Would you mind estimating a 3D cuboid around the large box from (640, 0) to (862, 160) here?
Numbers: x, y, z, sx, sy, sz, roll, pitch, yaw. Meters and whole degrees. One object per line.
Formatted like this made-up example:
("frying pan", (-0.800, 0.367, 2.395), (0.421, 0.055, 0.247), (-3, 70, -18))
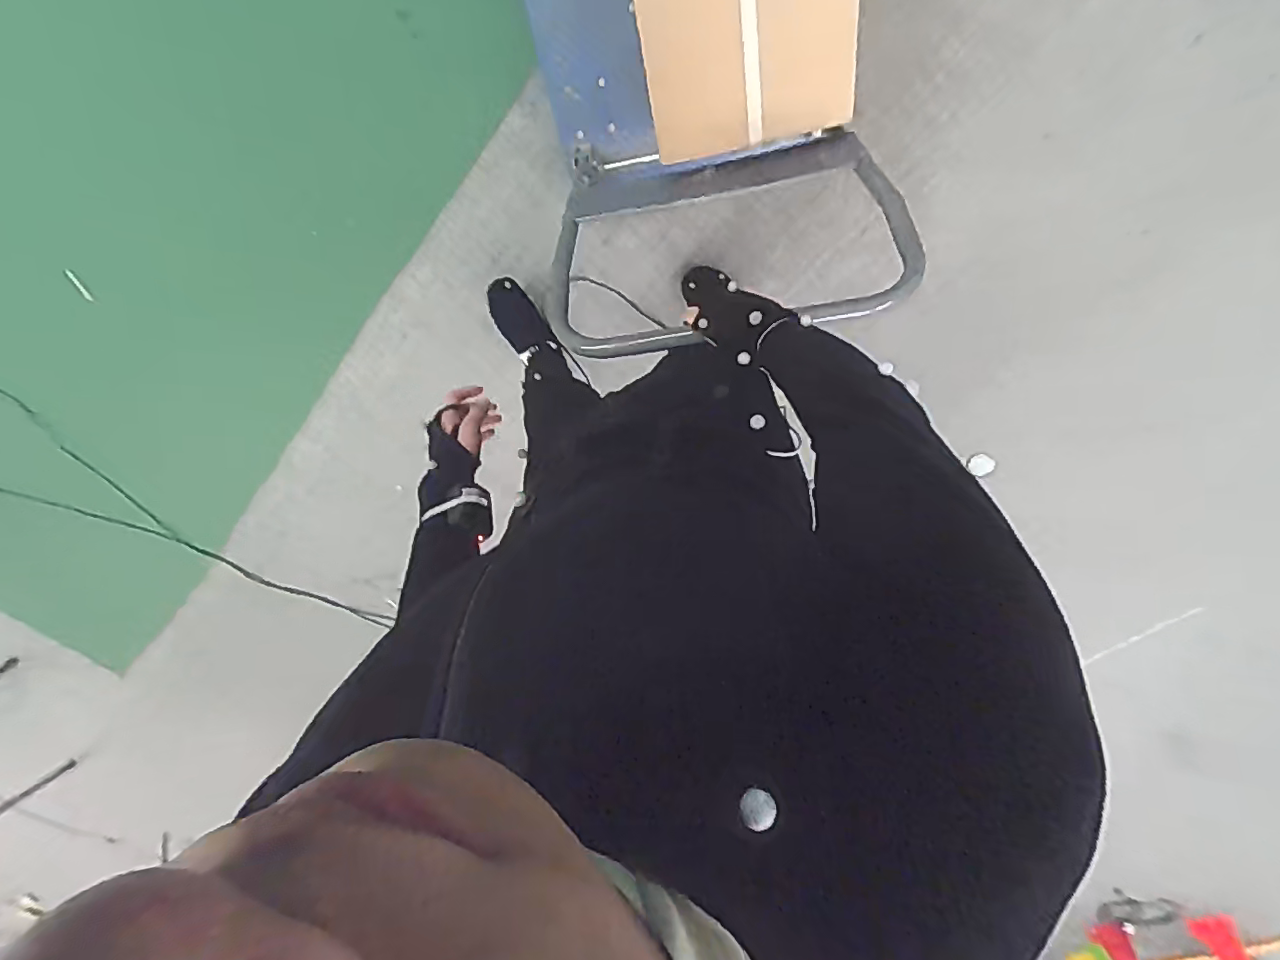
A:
("large box", (0.158, -0.803, 0.862), (0.320, 0.320, 0.408), (-9, 133, 9))
